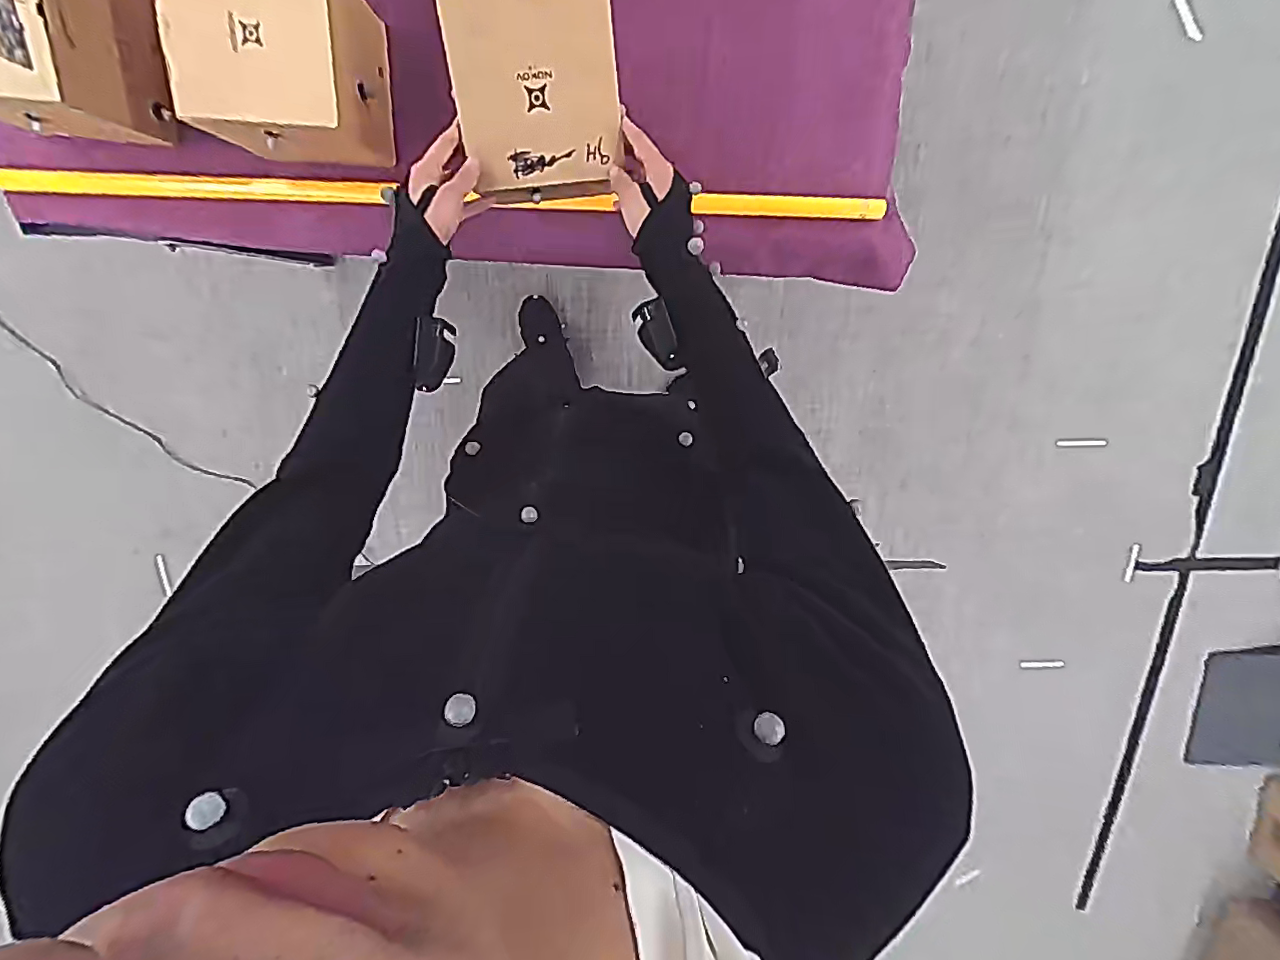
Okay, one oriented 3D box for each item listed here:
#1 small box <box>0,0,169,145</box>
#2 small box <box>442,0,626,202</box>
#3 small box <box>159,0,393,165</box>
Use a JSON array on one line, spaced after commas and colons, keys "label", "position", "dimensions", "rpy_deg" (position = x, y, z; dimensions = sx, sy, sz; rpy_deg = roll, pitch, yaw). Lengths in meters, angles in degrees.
[{"label": "small box", "position": [-0.691, -0.503, 0.619], "dimensions": [0.179, 0.176, 0.168], "rpy_deg": [3, 107, -4]}, {"label": "small box", "position": [-0.110, -0.426, 0.612], "dimensions": [0.168, 0.176, 0.179], "rpy_deg": [-6, 113, -3]}, {"label": "small box", "position": [-0.409, -0.487, 0.638], "dimensions": [0.179, 0.176, 0.168], "rpy_deg": [2, 107, -2]}]
